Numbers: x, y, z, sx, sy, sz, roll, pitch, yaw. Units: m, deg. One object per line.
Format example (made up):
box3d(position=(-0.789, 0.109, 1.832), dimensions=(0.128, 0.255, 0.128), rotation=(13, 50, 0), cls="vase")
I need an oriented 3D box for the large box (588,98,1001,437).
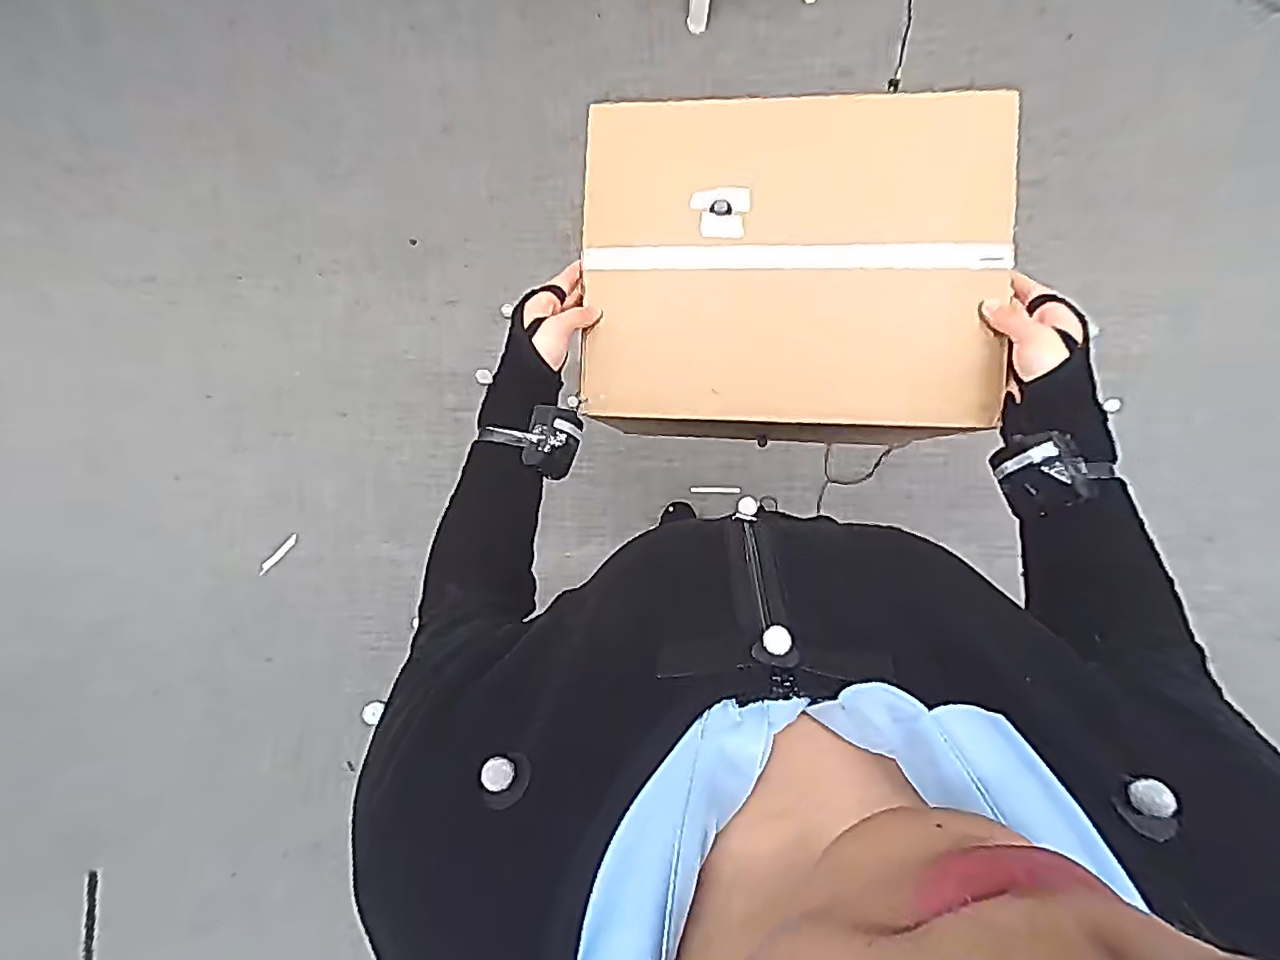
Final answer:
box3d(position=(0.165, -0.216, 0.687), dimensions=(0.408, 0.320, 0.320), rotation=(2, 90, 7), cls="large box")
